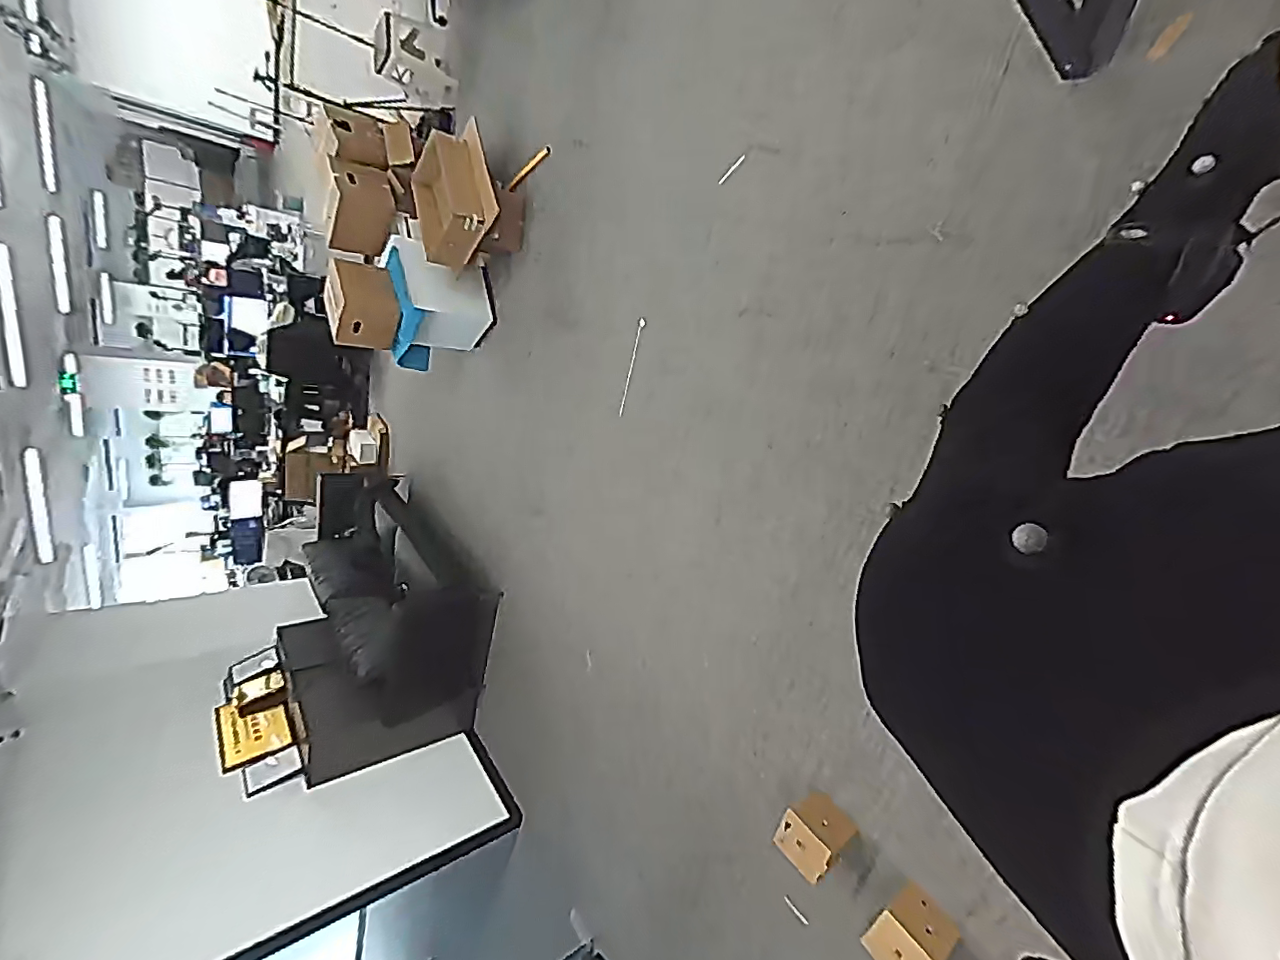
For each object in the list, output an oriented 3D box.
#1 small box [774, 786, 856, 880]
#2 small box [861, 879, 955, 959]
[{"bbox_3d":[0.593,1.181,1.825,0.179,0.176,0.168,36,118,42],"label":"small box"},{"bbox_3d":[0.796,1.338,1.598,0.168,0.176,0.179,39,122,41],"label":"small box"}]
